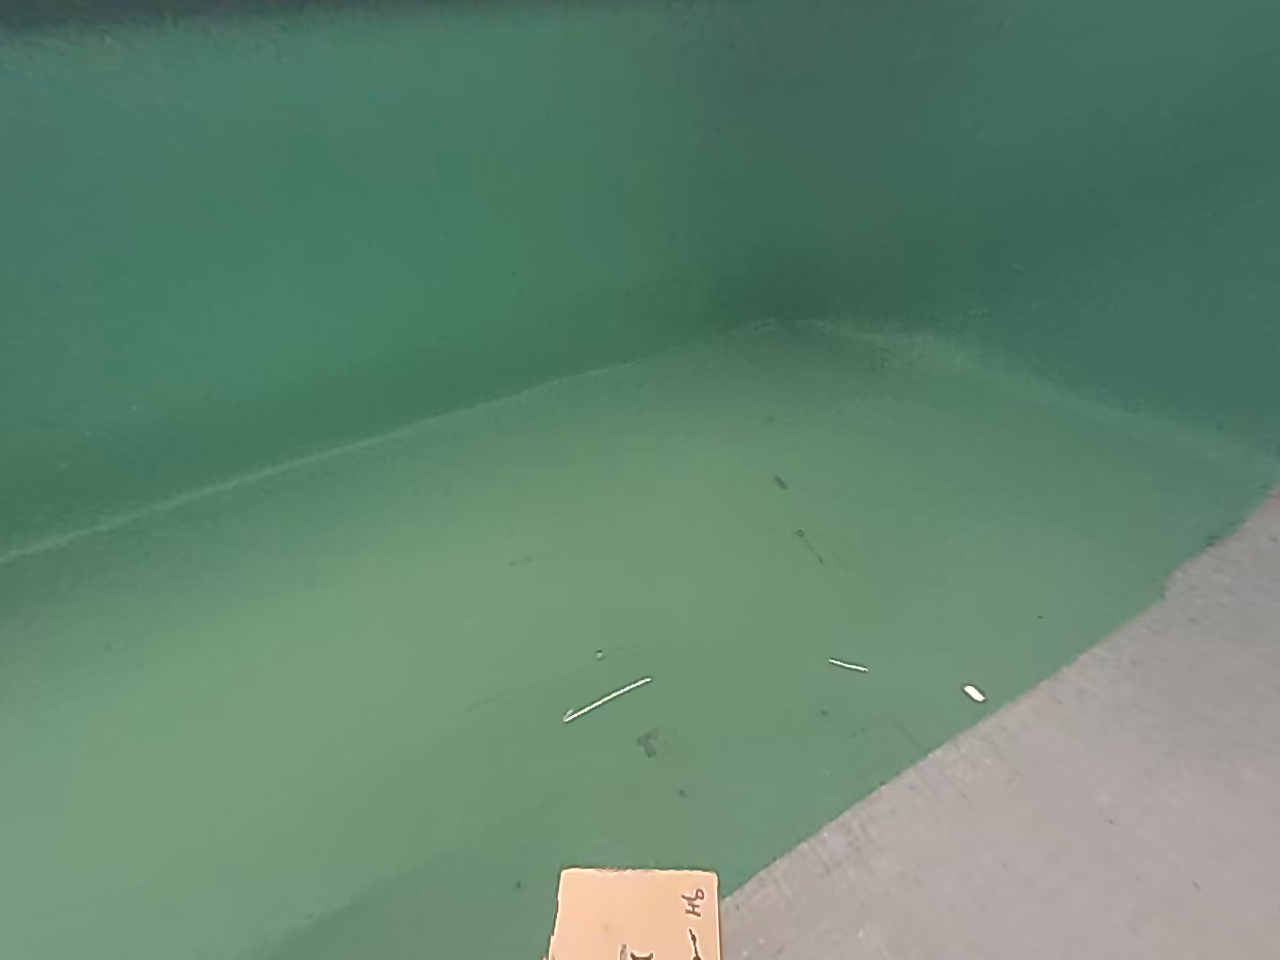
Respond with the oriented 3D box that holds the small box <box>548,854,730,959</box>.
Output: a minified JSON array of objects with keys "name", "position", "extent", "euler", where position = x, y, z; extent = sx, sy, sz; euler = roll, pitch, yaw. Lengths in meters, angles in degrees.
[{"name":"small box","position":[0.005,0.528,0.573],"extent":[0.179,0.176,0.168],"euler":[-2,35,8]}]
